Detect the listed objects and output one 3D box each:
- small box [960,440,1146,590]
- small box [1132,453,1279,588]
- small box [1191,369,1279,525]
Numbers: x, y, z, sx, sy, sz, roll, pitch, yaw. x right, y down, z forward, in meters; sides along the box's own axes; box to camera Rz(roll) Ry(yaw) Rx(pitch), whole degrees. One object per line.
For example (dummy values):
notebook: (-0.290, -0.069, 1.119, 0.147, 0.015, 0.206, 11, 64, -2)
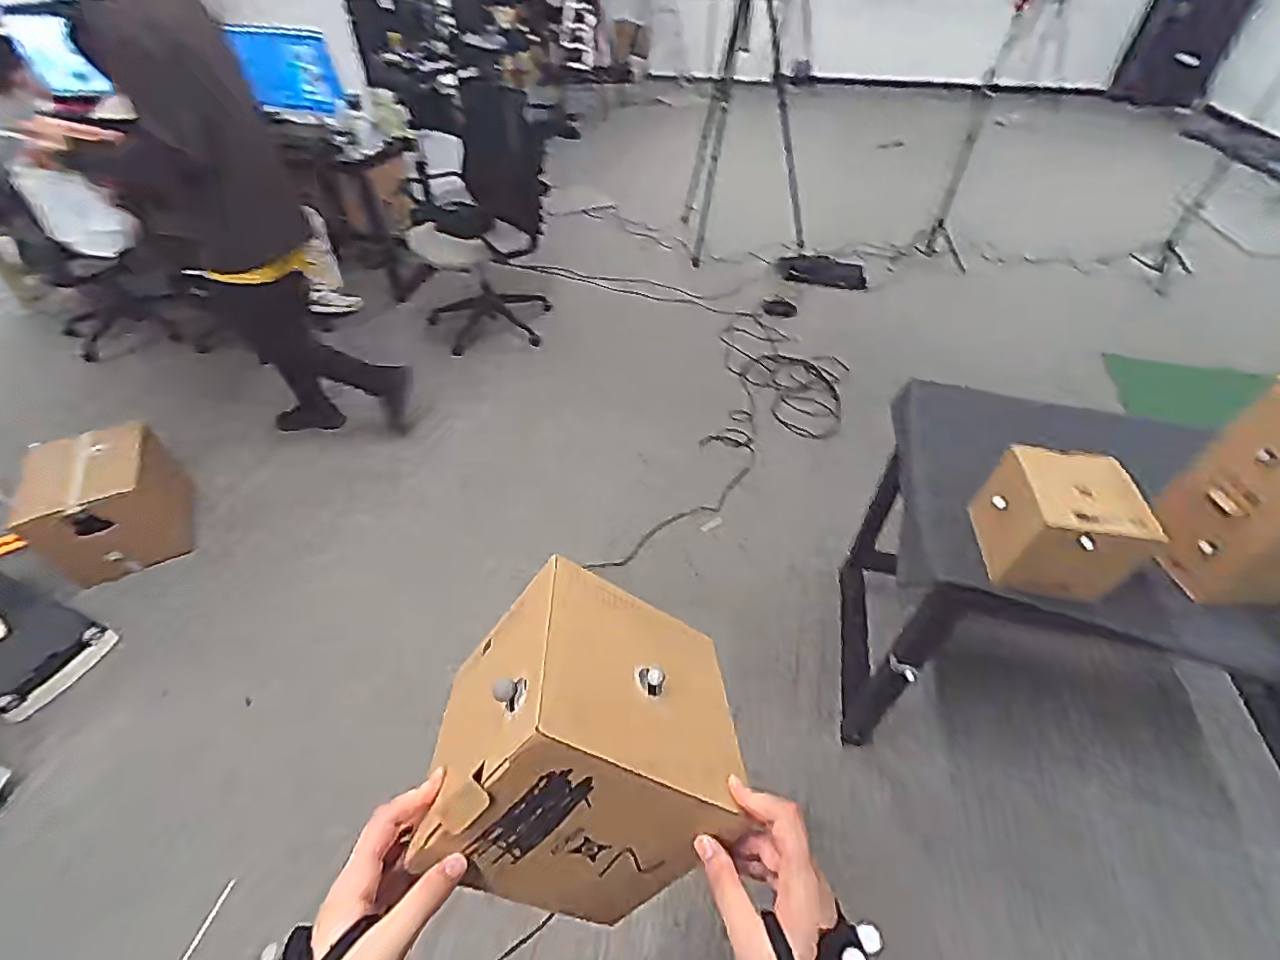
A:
small box: (0.673, 0.059, 0.912, 0.168, 0.176, 0.179, 7, 46, 7)
small box: (0.976, 0.069, 0.904, 0.179, 0.176, 0.168, -1, 46, -2)
small box: (0.975, -0.045, 0.785, 0.179, 0.176, 0.168, 0, 46, 1)
